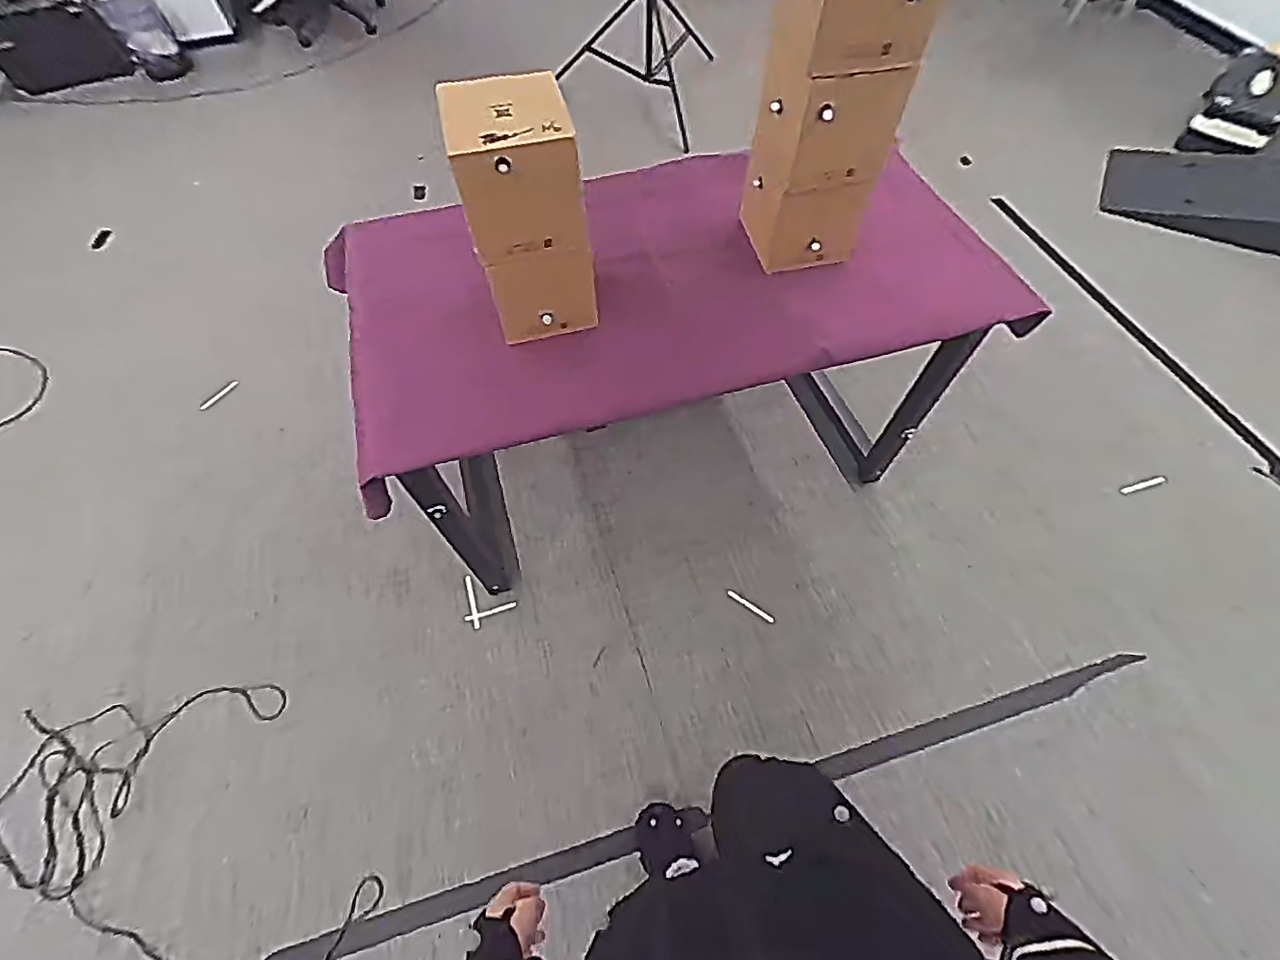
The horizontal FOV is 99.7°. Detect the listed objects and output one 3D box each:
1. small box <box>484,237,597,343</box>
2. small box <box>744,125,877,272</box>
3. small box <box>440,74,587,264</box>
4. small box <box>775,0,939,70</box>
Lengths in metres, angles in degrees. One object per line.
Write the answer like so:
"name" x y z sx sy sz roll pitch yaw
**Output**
"small box" -0.174 -0.366 0.927 0.168 0.176 0.179 -14 62 -7
"small box" 0.302 -0.520 1.007 0.168 0.176 0.179 -11 61 -4
"small box" -0.177 -0.446 0.783 0.168 0.176 0.179 -13 61 -6
"small box" 0.295 -0.675 0.719 0.168 0.176 0.179 -9 60 -5
